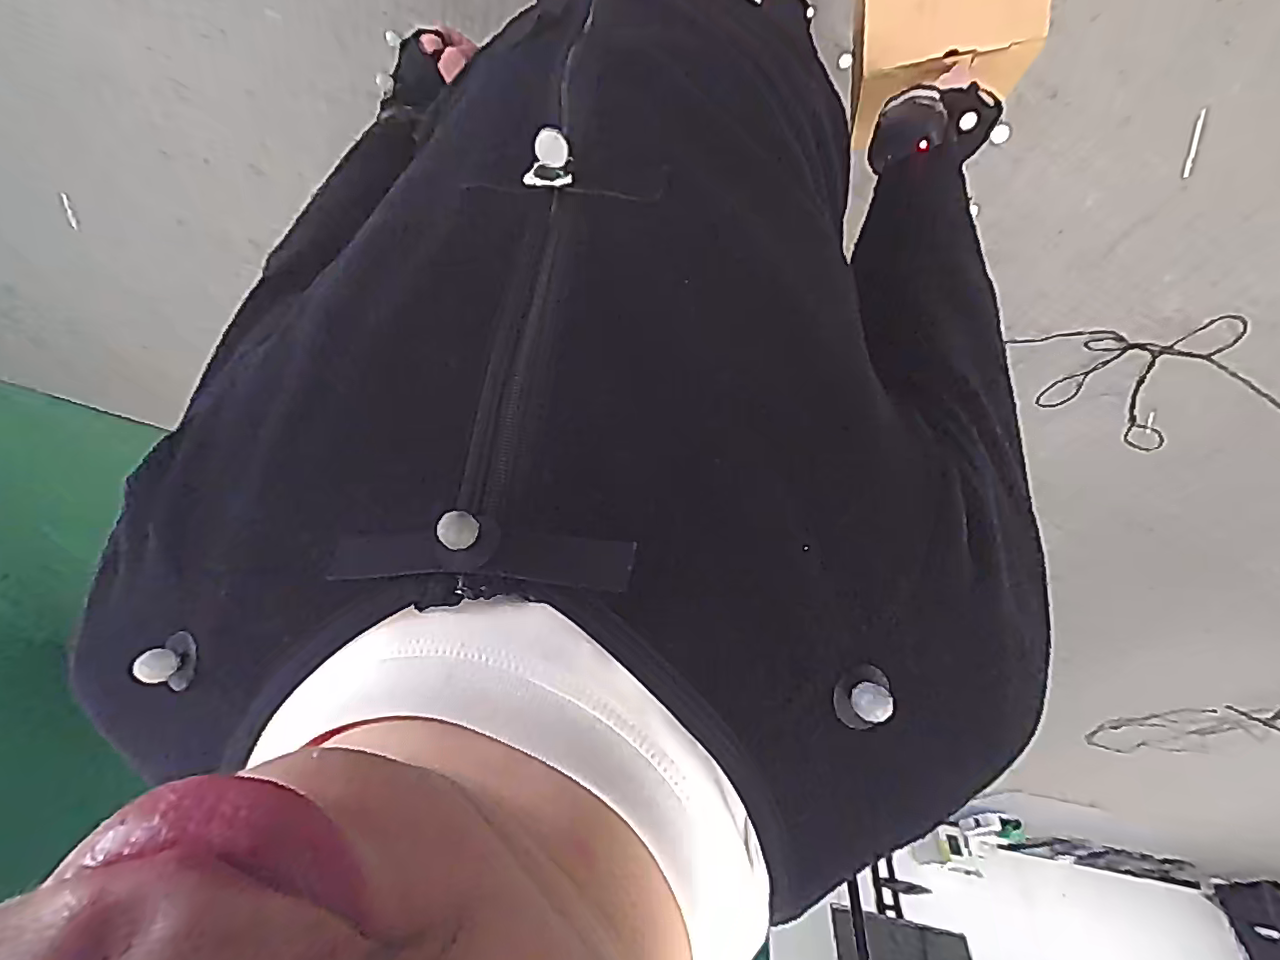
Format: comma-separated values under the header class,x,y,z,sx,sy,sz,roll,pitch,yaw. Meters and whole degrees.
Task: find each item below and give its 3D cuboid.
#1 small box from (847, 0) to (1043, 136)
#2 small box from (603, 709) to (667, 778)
class,x,y,z,sx,sy,sz,roll,pitch,yaw
small box,0.329,-0.516,0.606,0.168,0.176,0.179,2,98,16
small box,-0.014,0.926,1.905,0.168,0.176,0.179,23,136,-15
